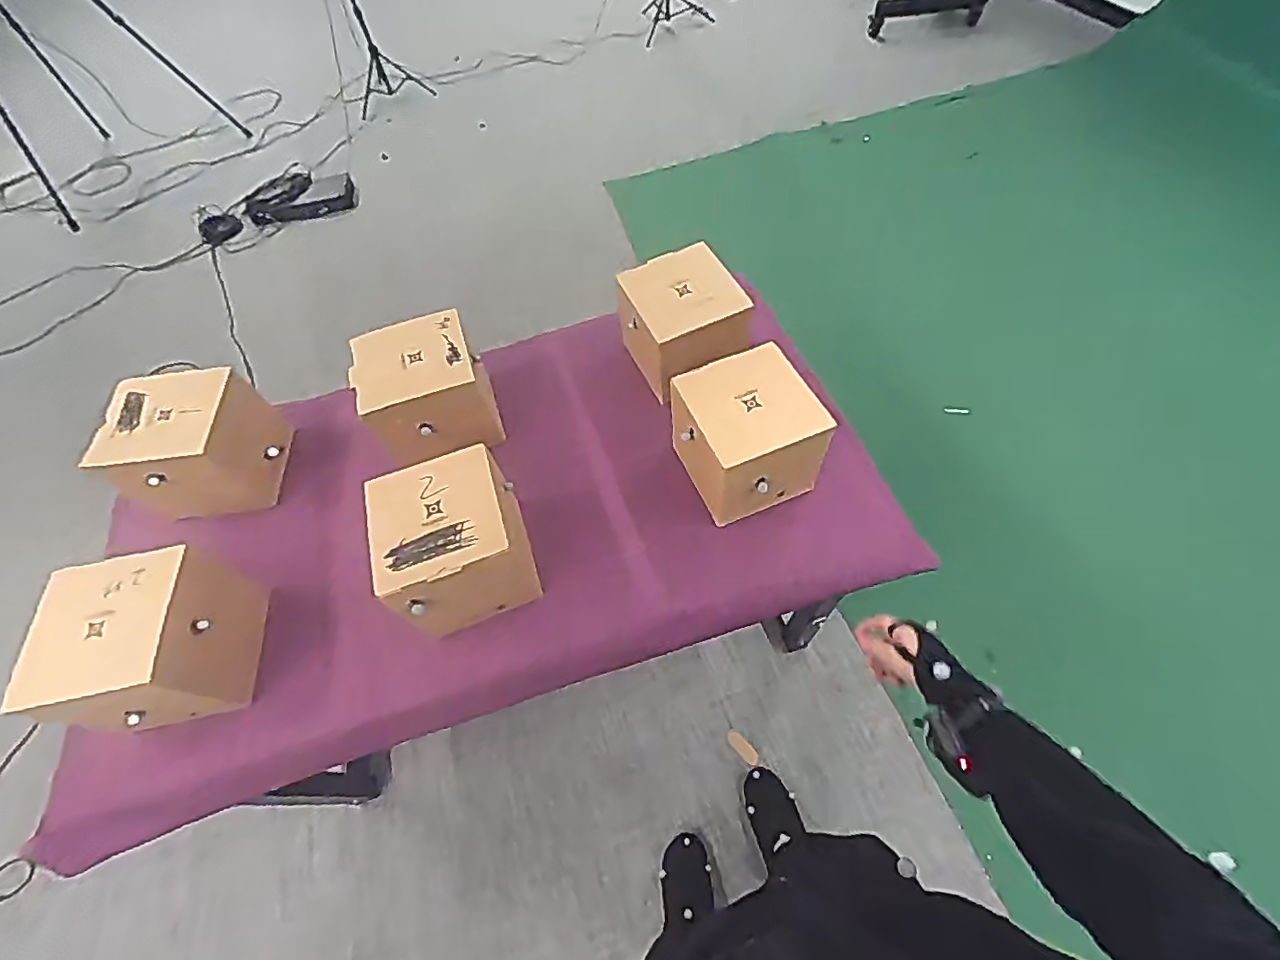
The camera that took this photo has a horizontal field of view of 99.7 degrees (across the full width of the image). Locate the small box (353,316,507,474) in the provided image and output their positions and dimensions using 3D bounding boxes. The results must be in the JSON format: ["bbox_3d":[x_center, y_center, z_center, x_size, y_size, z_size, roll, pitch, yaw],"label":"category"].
[{"bbox_3d":[-0.340,-0.133,0.891,0.179,0.176,0.168,-19,61,-6],"label":"small box"}]

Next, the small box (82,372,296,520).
[{"bbox_3d":[-0.700,-0.047,0.865,0.179,0.176,0.168,-7,60,-1],"label":"small box"}]

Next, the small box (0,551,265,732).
[{"bbox_3d":[-0.628,0.216,0.699,0.168,0.176,0.179,-11,58,-3],"label":"small box"}]

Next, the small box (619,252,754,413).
[{"bbox_3d":[0.076,-0.249,0.929,0.168,0.176,0.179,-23,61,-7],"label":"small box"}]

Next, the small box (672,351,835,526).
[{"bbox_3d":[0.158,-0.051,0.801,0.168,0.176,0.179,-21,57,-7],"label":"small box"}]
